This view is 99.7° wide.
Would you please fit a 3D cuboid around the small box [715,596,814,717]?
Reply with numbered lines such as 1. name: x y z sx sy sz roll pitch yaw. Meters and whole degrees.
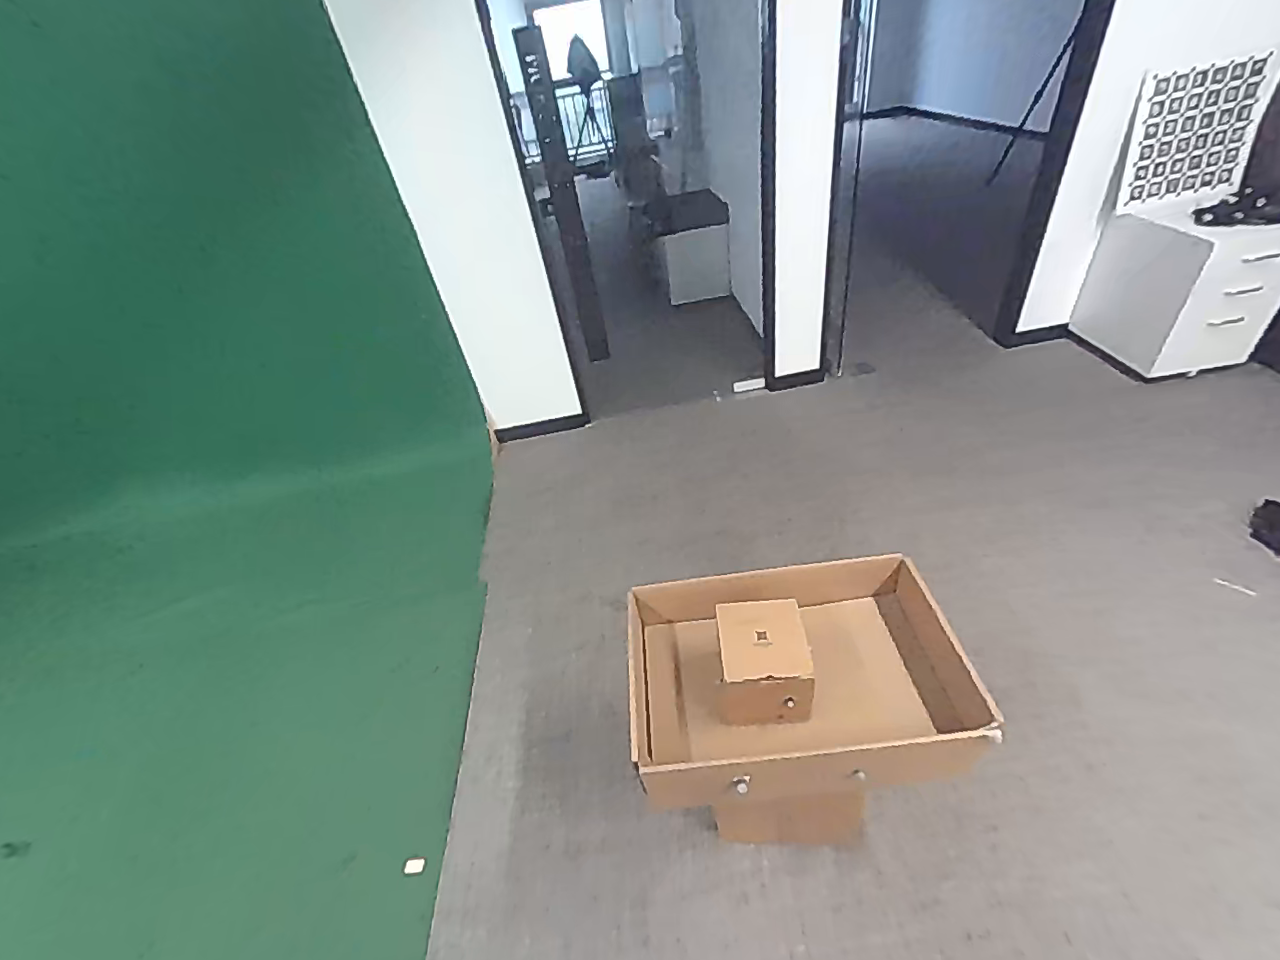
1. small box: 0.243 0.359 1.086 0.168 0.176 0.179 -5 38 4
